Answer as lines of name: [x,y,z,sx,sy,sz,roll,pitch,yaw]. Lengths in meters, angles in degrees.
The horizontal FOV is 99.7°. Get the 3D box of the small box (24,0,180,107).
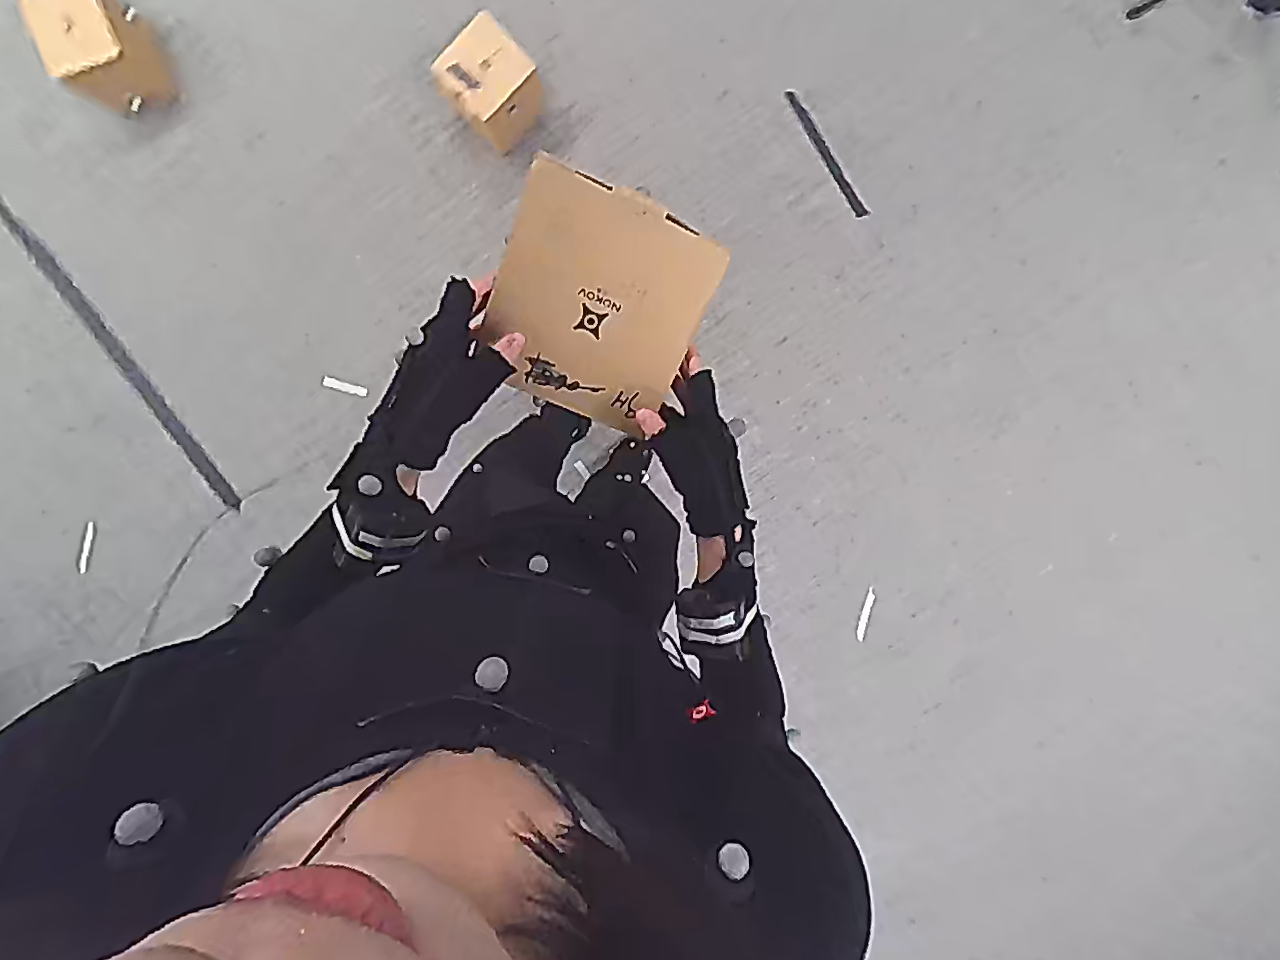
small box: [-1.229,-1.013,1.245,0.168,0.176,0.179,-17,99,2]

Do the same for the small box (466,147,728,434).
small box: [-0.043,-0.174,0.509,0.168,0.176,0.179,21,112,-12]

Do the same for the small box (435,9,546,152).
small box: [-0.343,-0.932,1.283,0.179,0.176,0.168,-45,96,4]
